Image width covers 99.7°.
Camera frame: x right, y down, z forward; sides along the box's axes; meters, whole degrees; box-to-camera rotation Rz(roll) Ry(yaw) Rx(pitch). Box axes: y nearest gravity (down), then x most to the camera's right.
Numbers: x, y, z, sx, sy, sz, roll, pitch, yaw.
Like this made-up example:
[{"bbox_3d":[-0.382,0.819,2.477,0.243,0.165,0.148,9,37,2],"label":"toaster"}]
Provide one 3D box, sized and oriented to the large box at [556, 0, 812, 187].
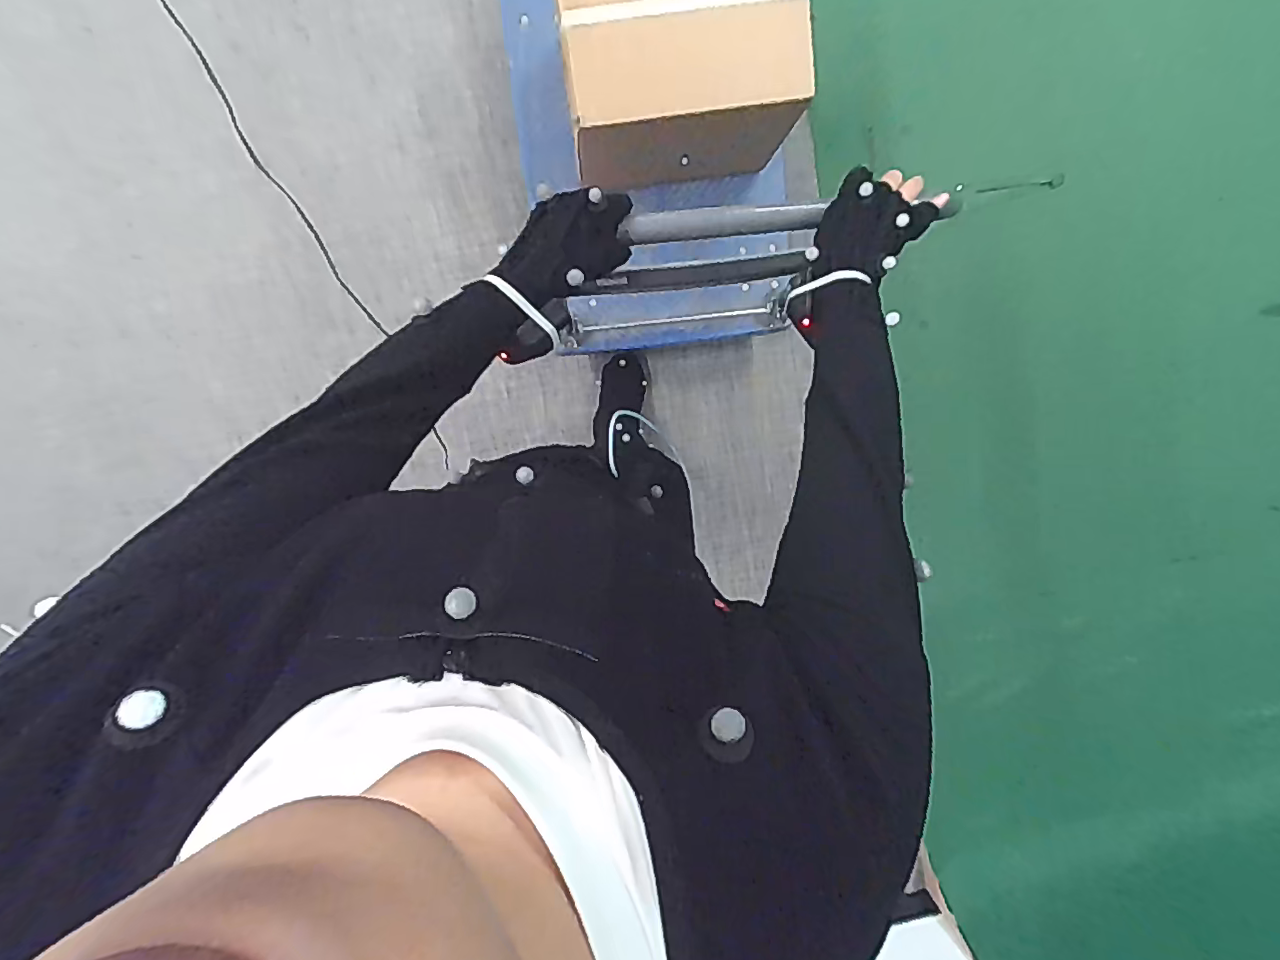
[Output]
[{"bbox_3d":[0.066,-0.798,1.027,0.408,0.320,0.320,-9,100,-2],"label":"large box"}]
